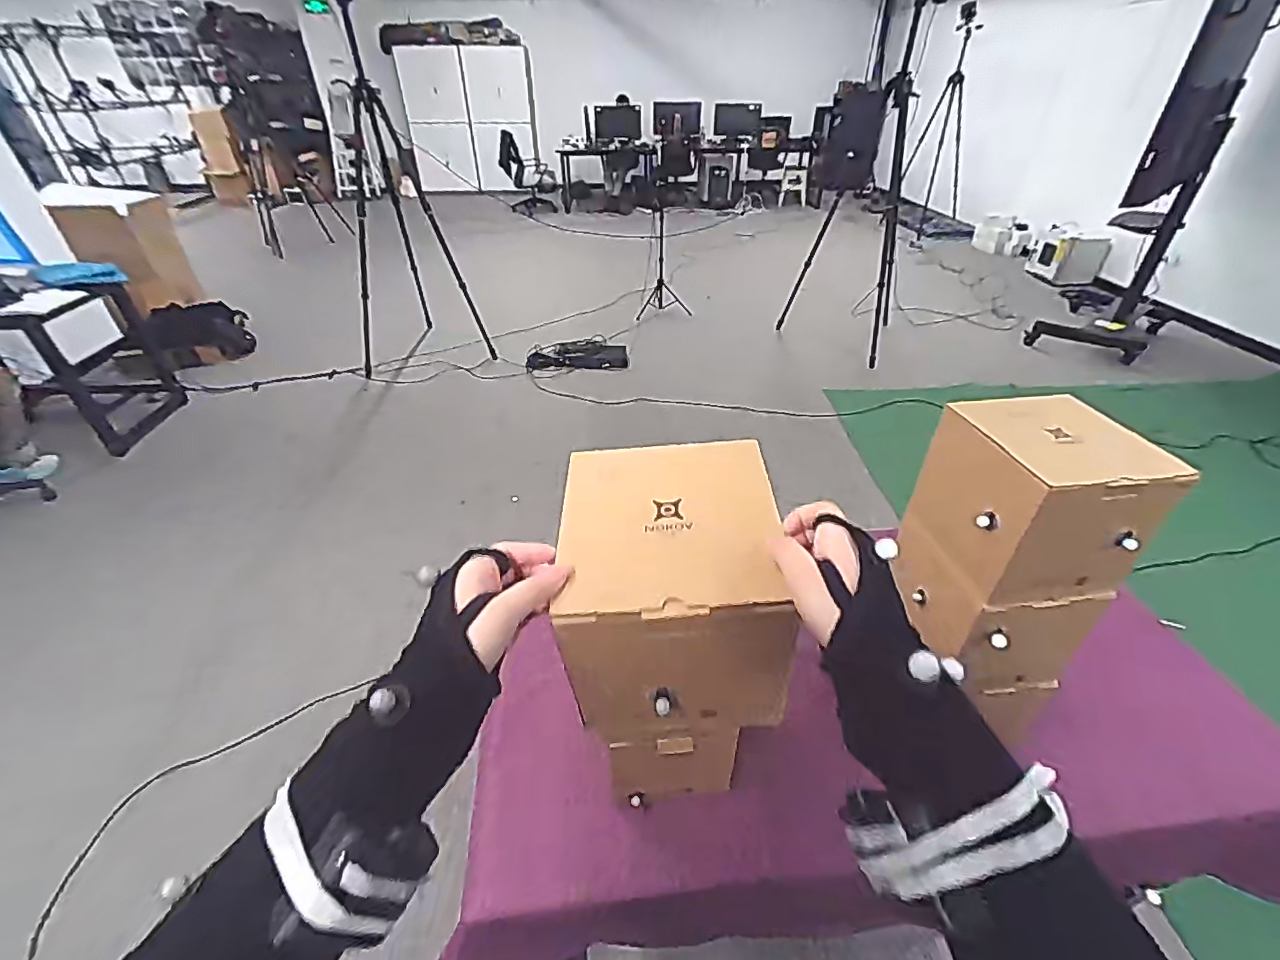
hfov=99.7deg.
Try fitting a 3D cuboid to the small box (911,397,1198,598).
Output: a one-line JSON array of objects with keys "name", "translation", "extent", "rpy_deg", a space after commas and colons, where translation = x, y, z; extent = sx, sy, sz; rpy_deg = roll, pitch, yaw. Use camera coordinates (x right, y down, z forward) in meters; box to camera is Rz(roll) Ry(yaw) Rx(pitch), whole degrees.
[{"name": "small box", "translation": [0.452, 0.022, 0.629], "extent": [0.168, 0.176, 0.179], "rpy_deg": [-4, 36, -5]}]

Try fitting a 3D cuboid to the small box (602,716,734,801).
[{"name": "small box", "translation": [0.030, 0.331, 0.772], "extent": [0.168, 0.176, 0.179], "rpy_deg": [-5, 36, -6]}]
